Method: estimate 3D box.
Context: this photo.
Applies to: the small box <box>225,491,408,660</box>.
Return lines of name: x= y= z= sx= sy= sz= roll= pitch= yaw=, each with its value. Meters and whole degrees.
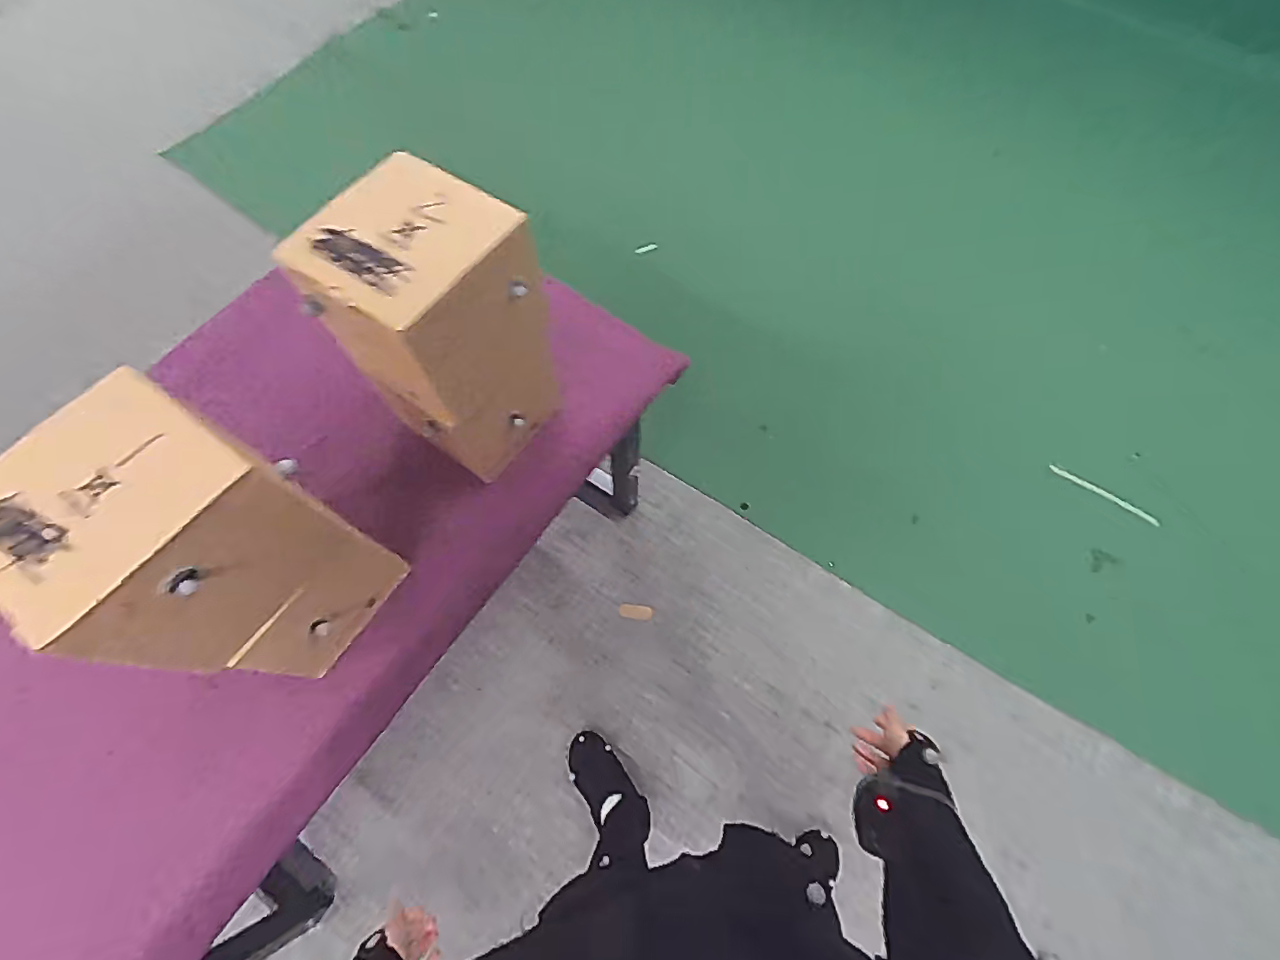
small box: x=-0.414 y=0.095 z=0.636 sx=0.179 sy=0.176 sz=0.168 roll=30 pitch=71 yaw=13

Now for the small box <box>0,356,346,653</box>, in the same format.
small box: x=-0.413 y=0.033 z=0.483 sx=0.168 sy=0.176 sz=0.179 roll=34 pitch=71 yaw=14

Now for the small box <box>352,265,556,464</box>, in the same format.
small box: x=-0.234 y=-0.144 z=0.735 sx=0.179 sy=0.176 sz=0.168 roll=34 pitch=71 yaw=13
